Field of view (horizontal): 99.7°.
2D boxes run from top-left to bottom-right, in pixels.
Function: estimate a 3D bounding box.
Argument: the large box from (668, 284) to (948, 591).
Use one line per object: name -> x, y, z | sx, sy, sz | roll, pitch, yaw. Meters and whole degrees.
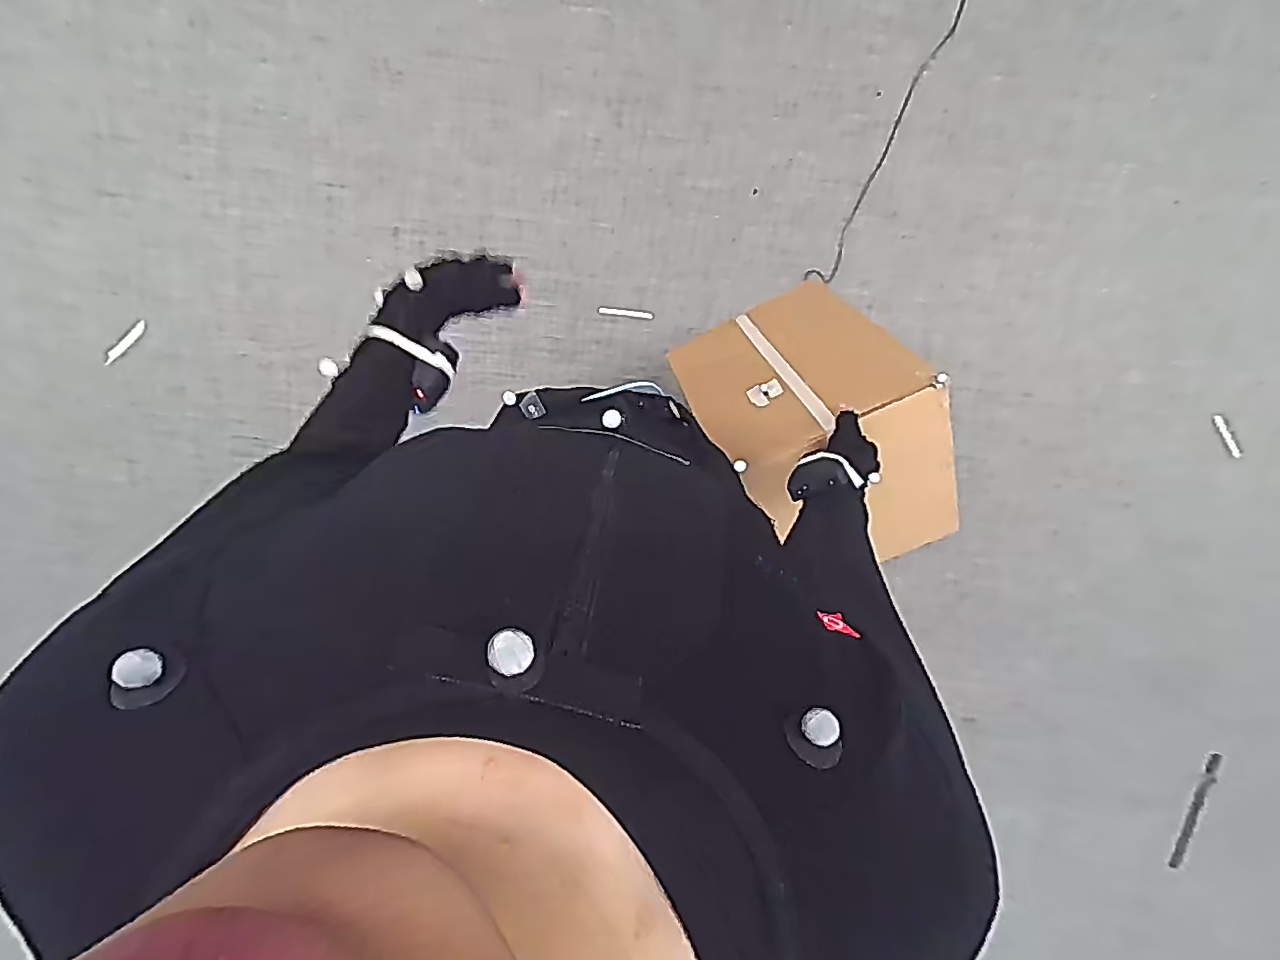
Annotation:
large box -> 0.283, -0.085, 0.970 | 0.320, 0.408, 0.320 | -26, 129, 8
